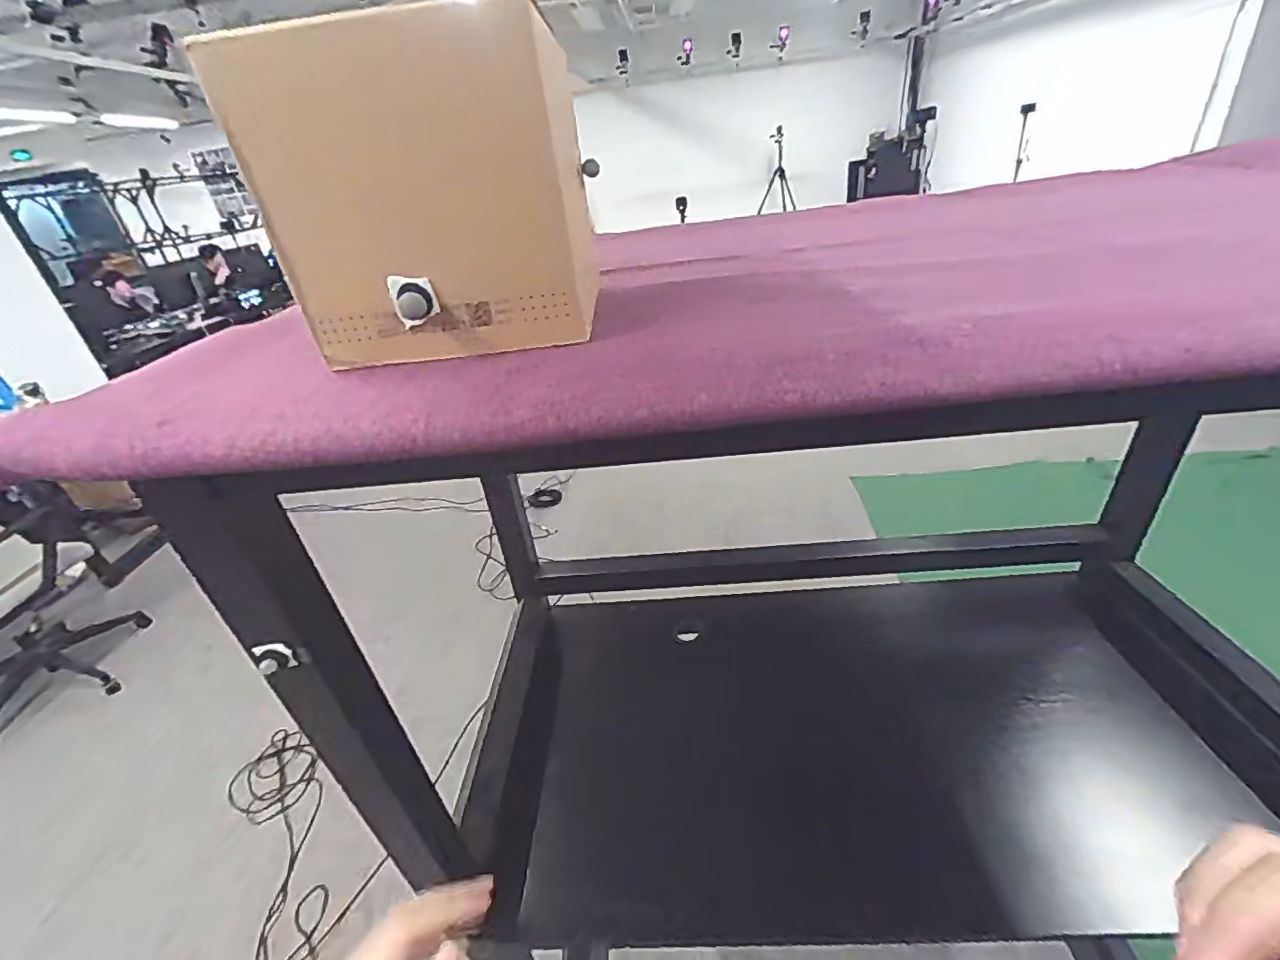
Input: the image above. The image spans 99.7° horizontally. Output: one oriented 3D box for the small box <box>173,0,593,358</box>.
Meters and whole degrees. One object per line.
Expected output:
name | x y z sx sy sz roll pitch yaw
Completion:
small box | -0.127 -0.192 0.355 0.168 0.176 0.179 -8 32 2
